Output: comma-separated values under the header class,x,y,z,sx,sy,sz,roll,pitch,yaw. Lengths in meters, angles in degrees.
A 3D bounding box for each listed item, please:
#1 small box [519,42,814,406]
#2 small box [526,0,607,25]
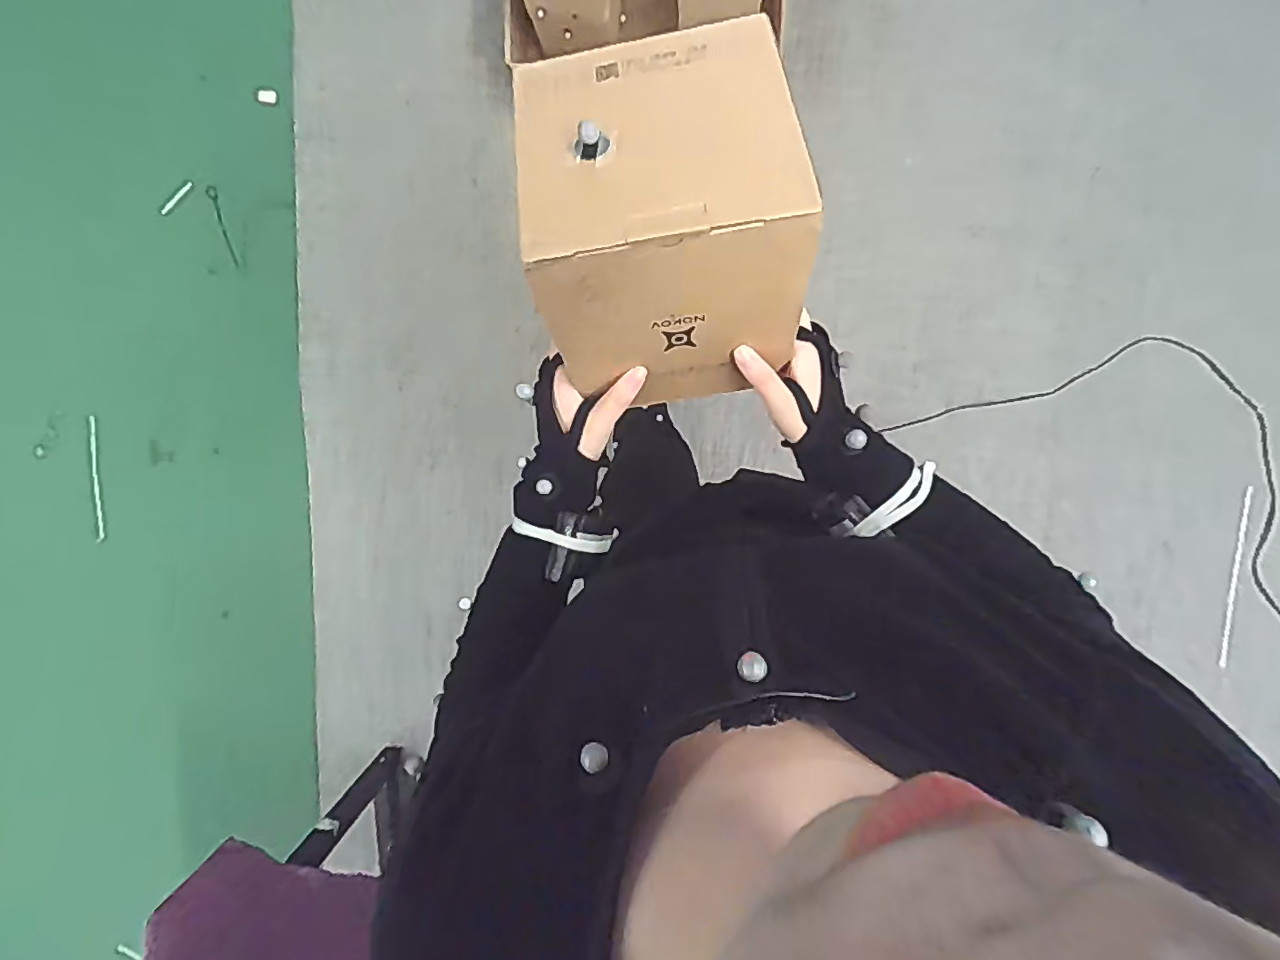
class,x,y,z,sx,sy,sz,roll,pitch,yaw
small box,0.014,-0.178,0.398,0.168,0.179,0.176,-7,69,4
small box,-0.150,-1.055,1.069,0.168,0.176,0.179,9,96,2
